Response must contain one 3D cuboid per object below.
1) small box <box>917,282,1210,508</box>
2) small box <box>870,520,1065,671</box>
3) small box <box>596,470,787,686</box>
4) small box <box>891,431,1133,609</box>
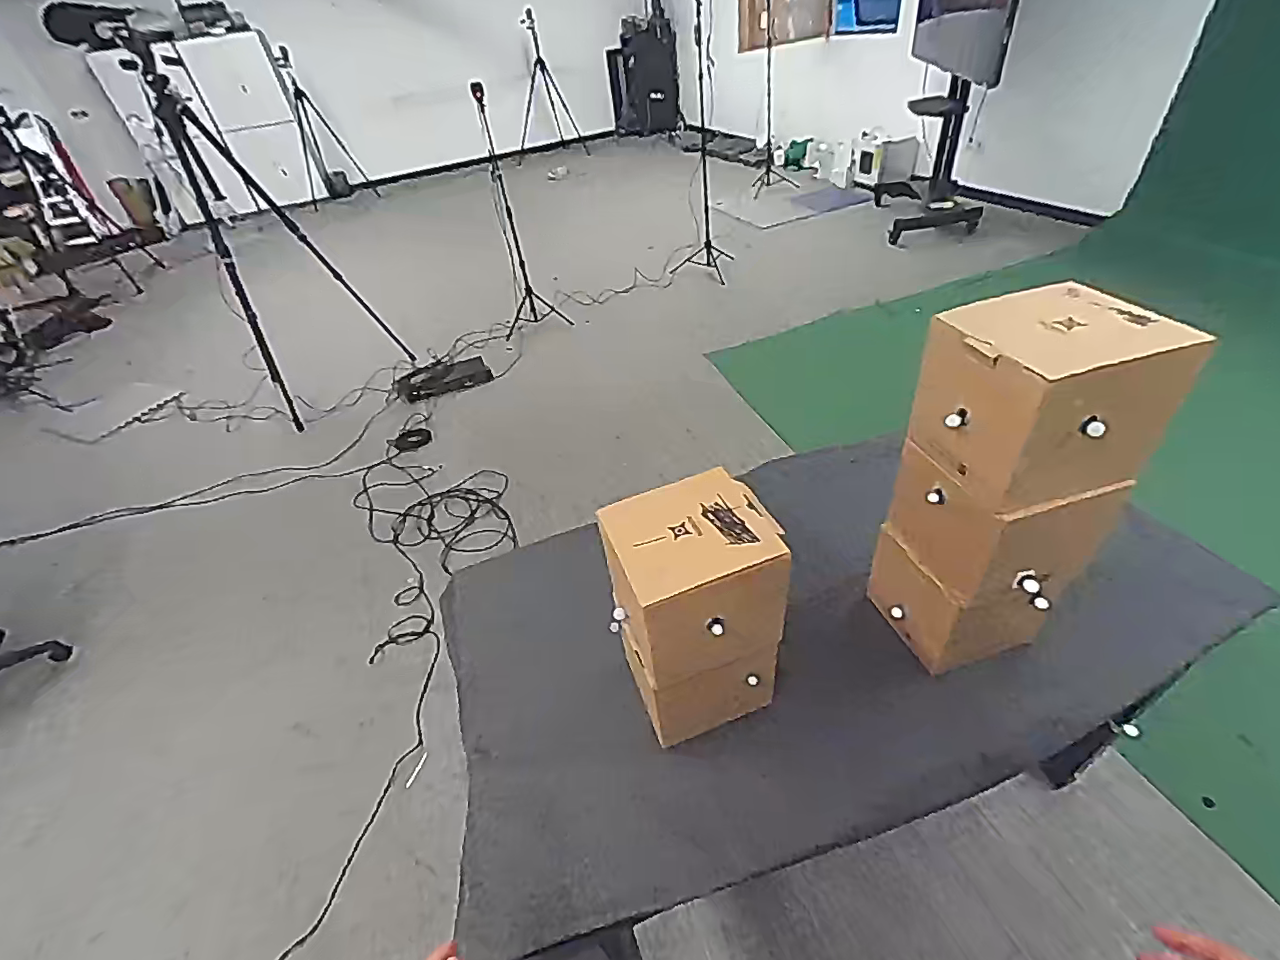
[{"bbox_3d":[0.431,-0.092,0.594,0.179,0.176,0.168,-15,40,-4],"label":"small box"},{"bbox_3d":[0.472,0.152,0.807,0.179,0.176,0.168,-16,40,-7],"label":"small box"},{"bbox_3d":[0.060,0.120,0.671,0.179,0.176,0.168,-19,41,-11],"label":"small box"},{"bbox_3d":[0.452,0.034,0.697,0.168,0.176,0.179,-16,41,-5],"label":"small box"}]
